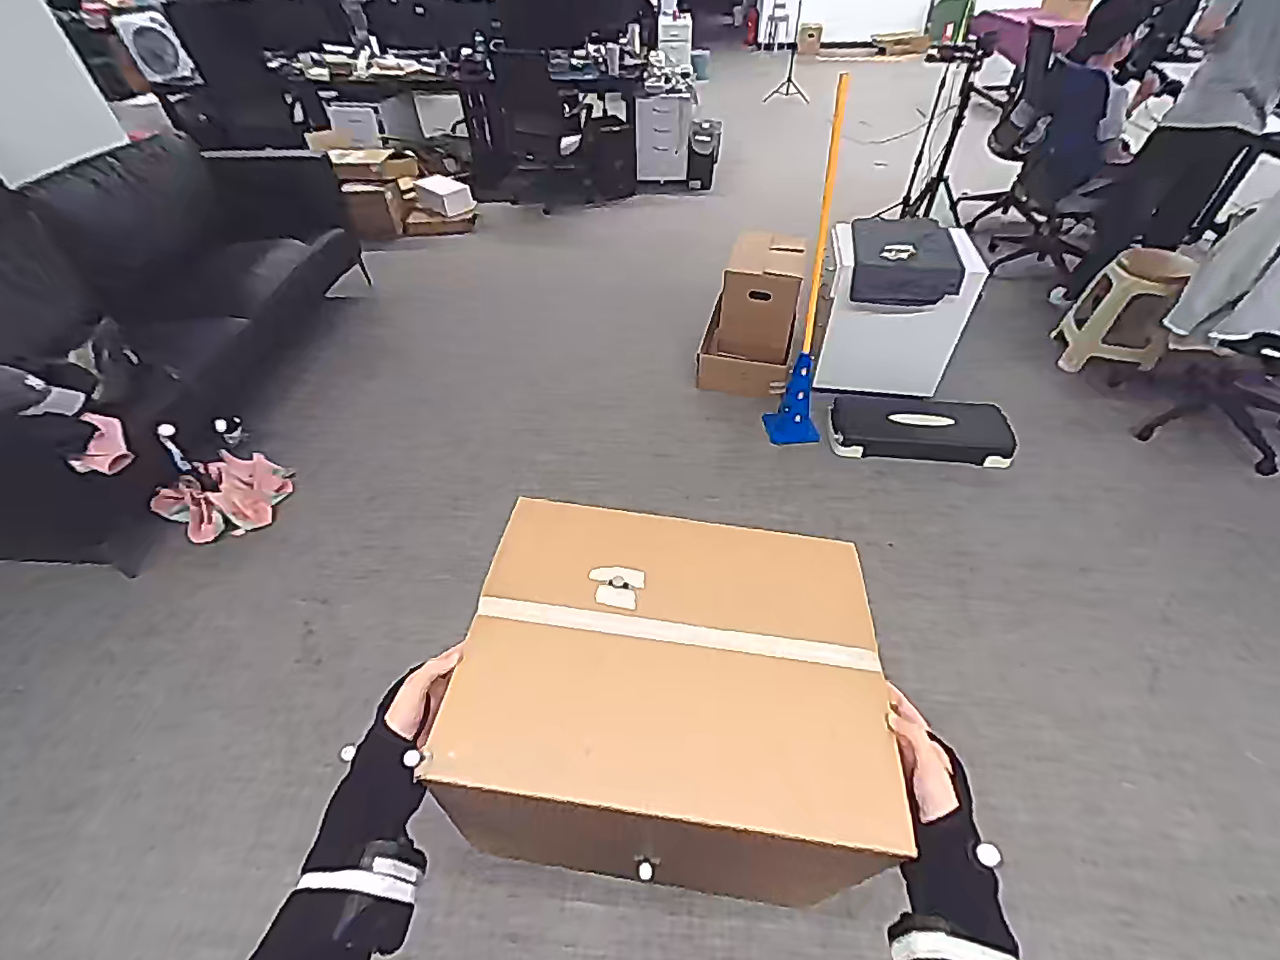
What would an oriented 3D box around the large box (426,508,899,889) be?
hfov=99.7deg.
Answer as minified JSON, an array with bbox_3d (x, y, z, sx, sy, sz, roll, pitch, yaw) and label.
[{"bbox_3d":[0.026,0.267,0.656,0.408,0.320,0.320,7,46,3],"label":"large box"}]
